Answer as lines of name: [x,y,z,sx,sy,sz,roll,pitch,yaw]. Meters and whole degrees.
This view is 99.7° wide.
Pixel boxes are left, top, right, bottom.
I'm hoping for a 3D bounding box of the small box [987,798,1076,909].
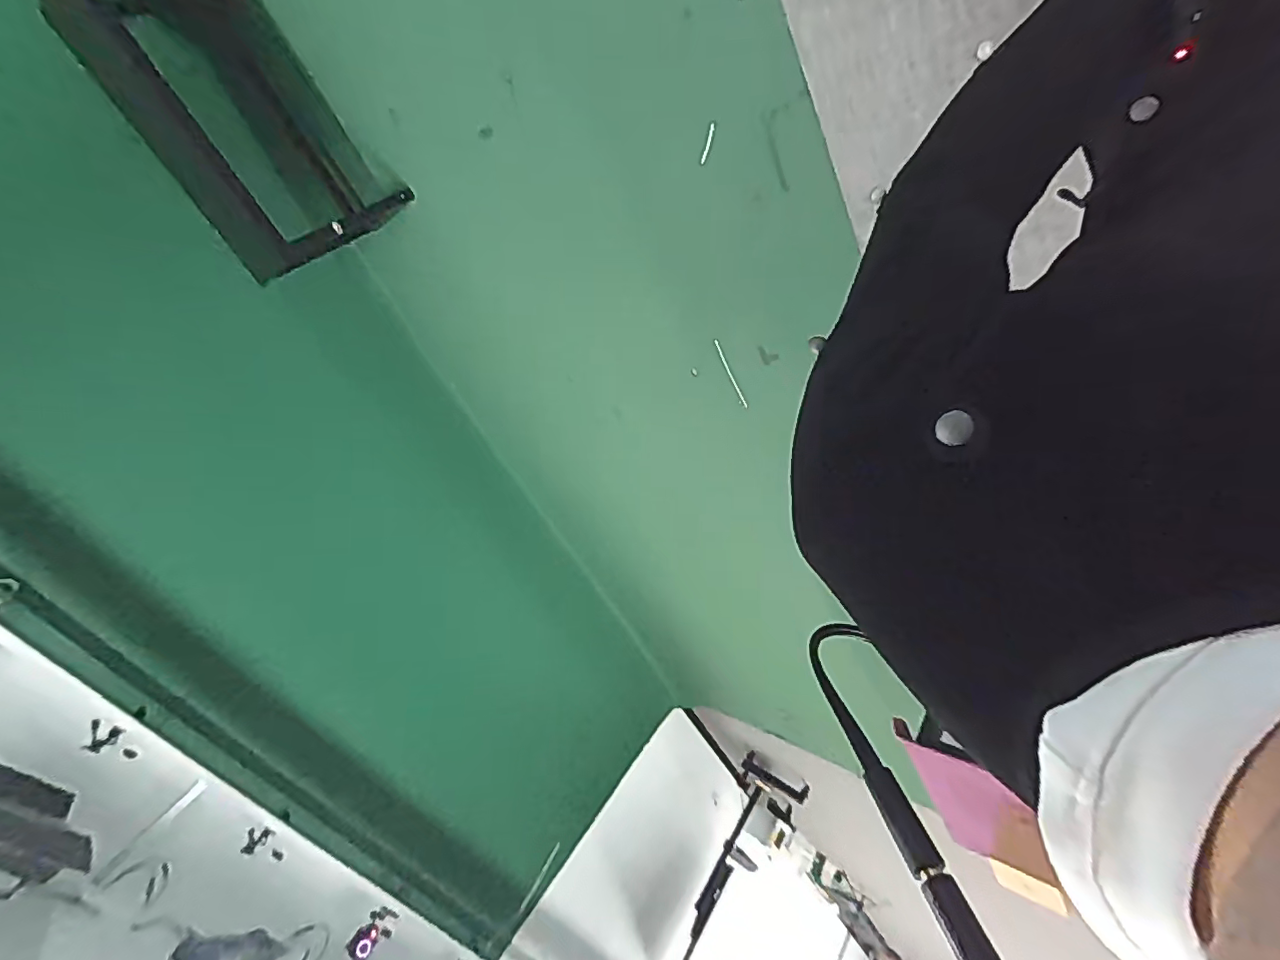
small box: [1.124,1.060,1.547,0.168,0.176,0.179,1,131,48]
